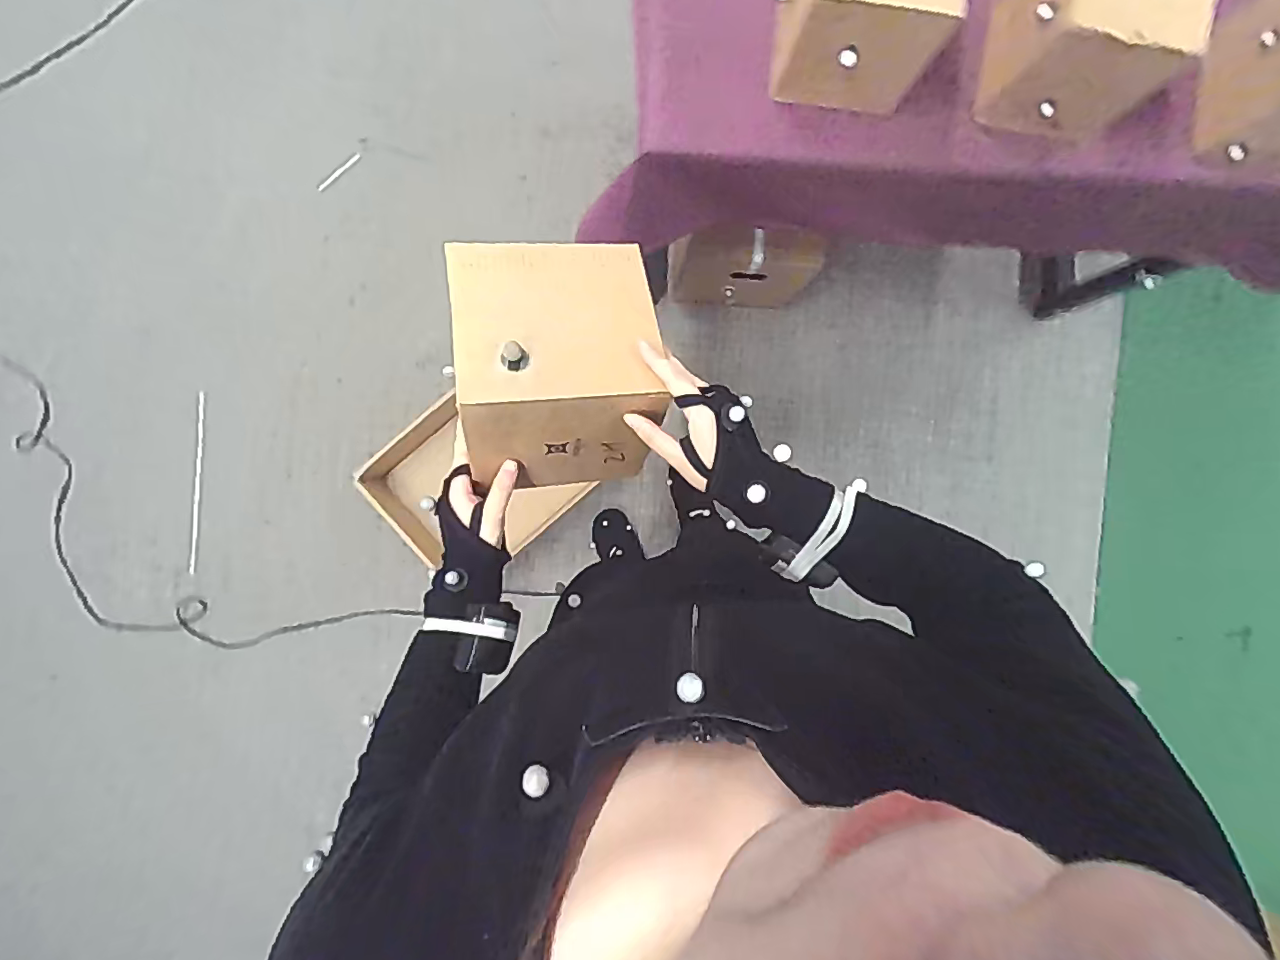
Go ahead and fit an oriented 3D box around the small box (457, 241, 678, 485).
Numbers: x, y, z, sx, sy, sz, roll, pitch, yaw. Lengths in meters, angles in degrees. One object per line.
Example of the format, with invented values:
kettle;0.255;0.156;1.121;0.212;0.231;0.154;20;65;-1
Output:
small box;-0.081;-0.108;0.527;0.179;0.168;0.176;-5;68;-15

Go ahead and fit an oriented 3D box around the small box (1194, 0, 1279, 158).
small box;0.891;-0.556;0.708;0.168;0.176;0.179;5;90;-2

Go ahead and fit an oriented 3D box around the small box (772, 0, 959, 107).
small box;0.275;-0.610;0.683;0.179;0.176;0.168;5;91;-2

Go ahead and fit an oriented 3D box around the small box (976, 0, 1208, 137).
small box;0.572;-0.591;0.697;0.168;0.176;0.179;10;91;-2
